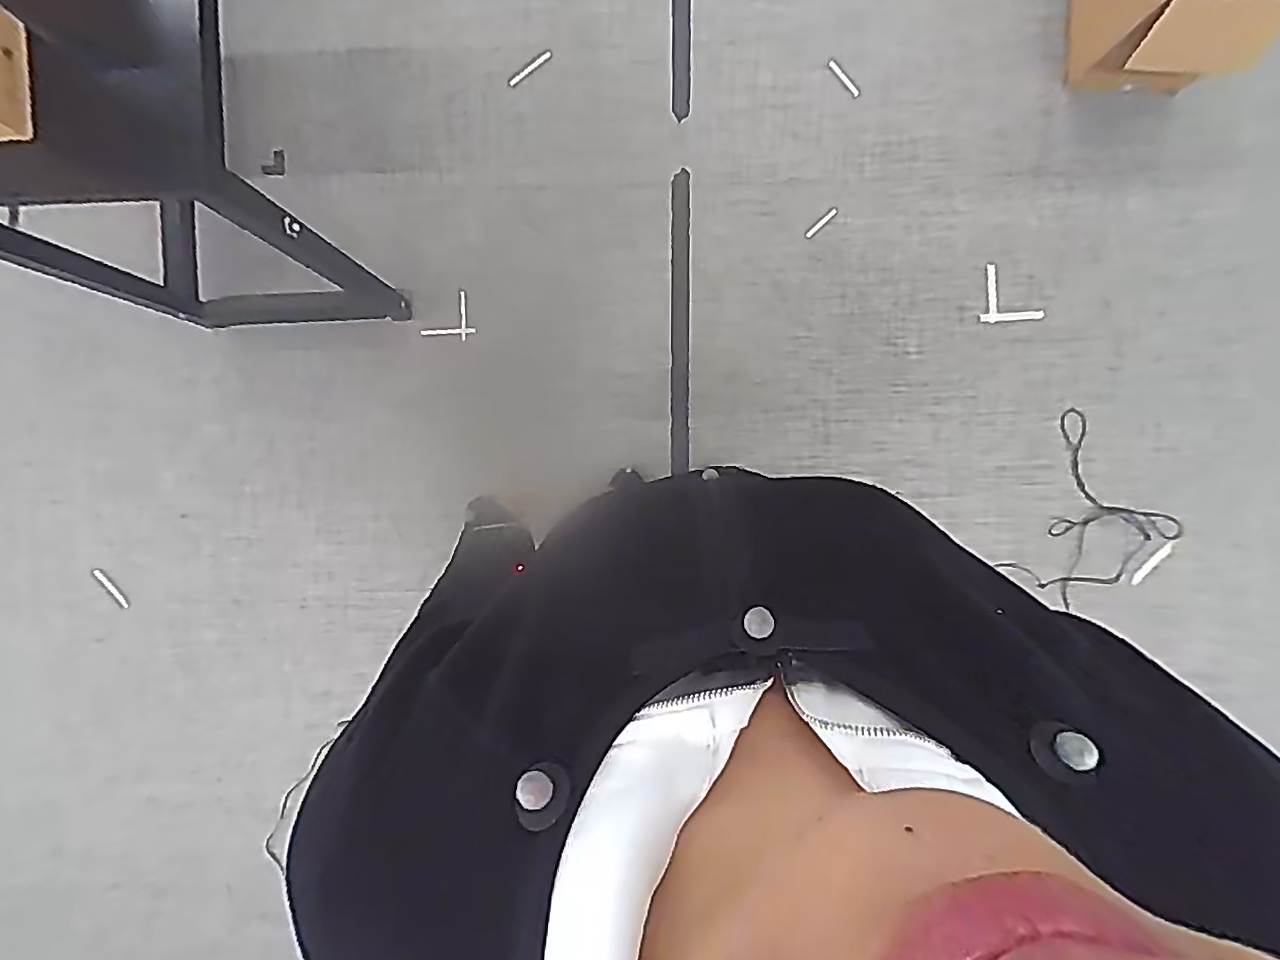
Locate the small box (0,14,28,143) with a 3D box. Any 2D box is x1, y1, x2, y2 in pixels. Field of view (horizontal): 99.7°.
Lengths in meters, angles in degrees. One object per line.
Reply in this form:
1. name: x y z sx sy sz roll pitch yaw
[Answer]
1. small box: -0.956 -0.560 0.696 0.179 0.176 0.168 -3 90 1
